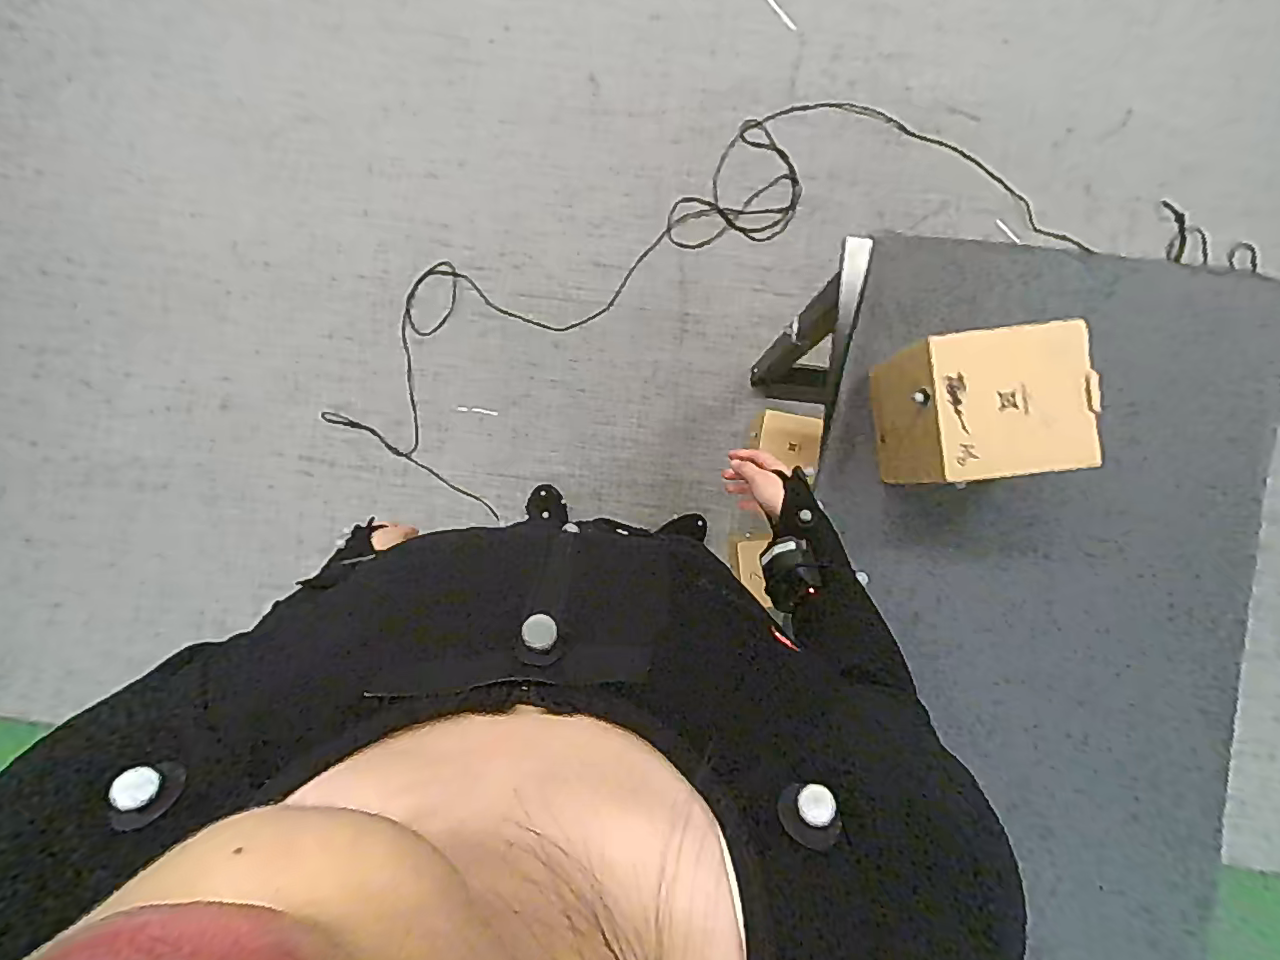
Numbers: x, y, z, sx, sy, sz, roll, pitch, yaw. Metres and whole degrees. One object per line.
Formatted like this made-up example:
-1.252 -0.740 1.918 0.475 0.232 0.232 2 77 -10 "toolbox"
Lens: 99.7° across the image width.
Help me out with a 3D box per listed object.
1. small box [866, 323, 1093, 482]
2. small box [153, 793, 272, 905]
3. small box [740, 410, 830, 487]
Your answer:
0.412 -0.088 0.682 0.179 0.176 0.168 -6 89 0 "small box"
-1.083 0.936 1.388 0.179 0.176 0.168 -9 89 0 "small box"
0.371 -0.075 1.413 0.179 0.176 0.168 11 89 -1 "small box"
